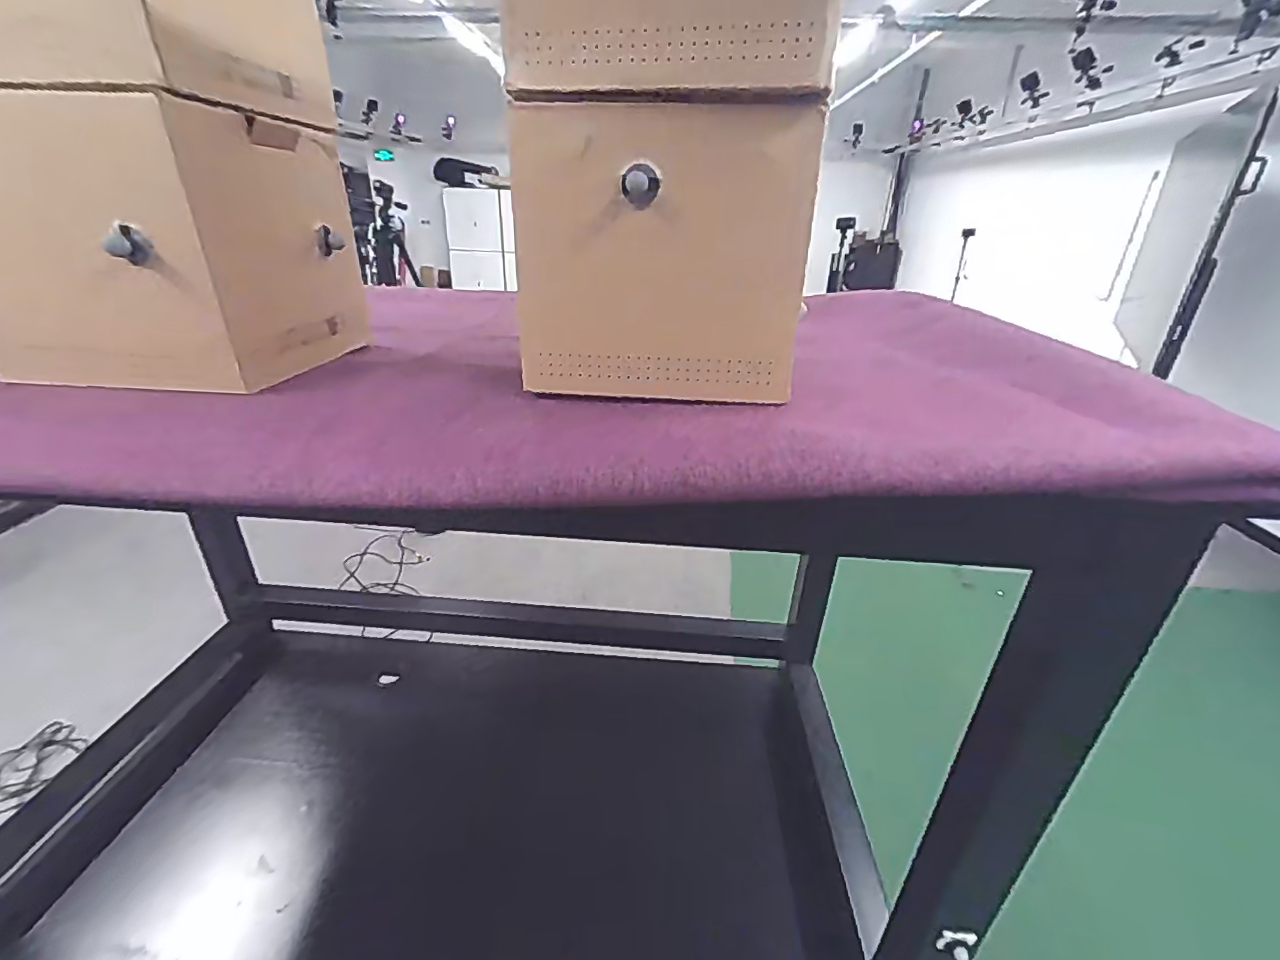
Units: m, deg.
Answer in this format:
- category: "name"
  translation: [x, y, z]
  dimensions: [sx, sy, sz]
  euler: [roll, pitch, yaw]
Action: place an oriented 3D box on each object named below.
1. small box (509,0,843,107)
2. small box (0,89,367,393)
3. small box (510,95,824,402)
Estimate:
- category: "small box"
  translation: [0.026, -0.306, 0.323]
  dimensions: [0.179, 0.176, 0.168]
  euler: [4, 24, 8]
- category: "small box"
  translation: [-0.330, -0.166, 0.393]
  dimensions: [0.179, 0.176, 0.168]
  euler: [2, 26, 2]
- category: "small box"
  translation: [0.019, -0.159, 0.395]
  dimensions: [0.179, 0.176, 0.168]
  euler: [4, 24, 4]
